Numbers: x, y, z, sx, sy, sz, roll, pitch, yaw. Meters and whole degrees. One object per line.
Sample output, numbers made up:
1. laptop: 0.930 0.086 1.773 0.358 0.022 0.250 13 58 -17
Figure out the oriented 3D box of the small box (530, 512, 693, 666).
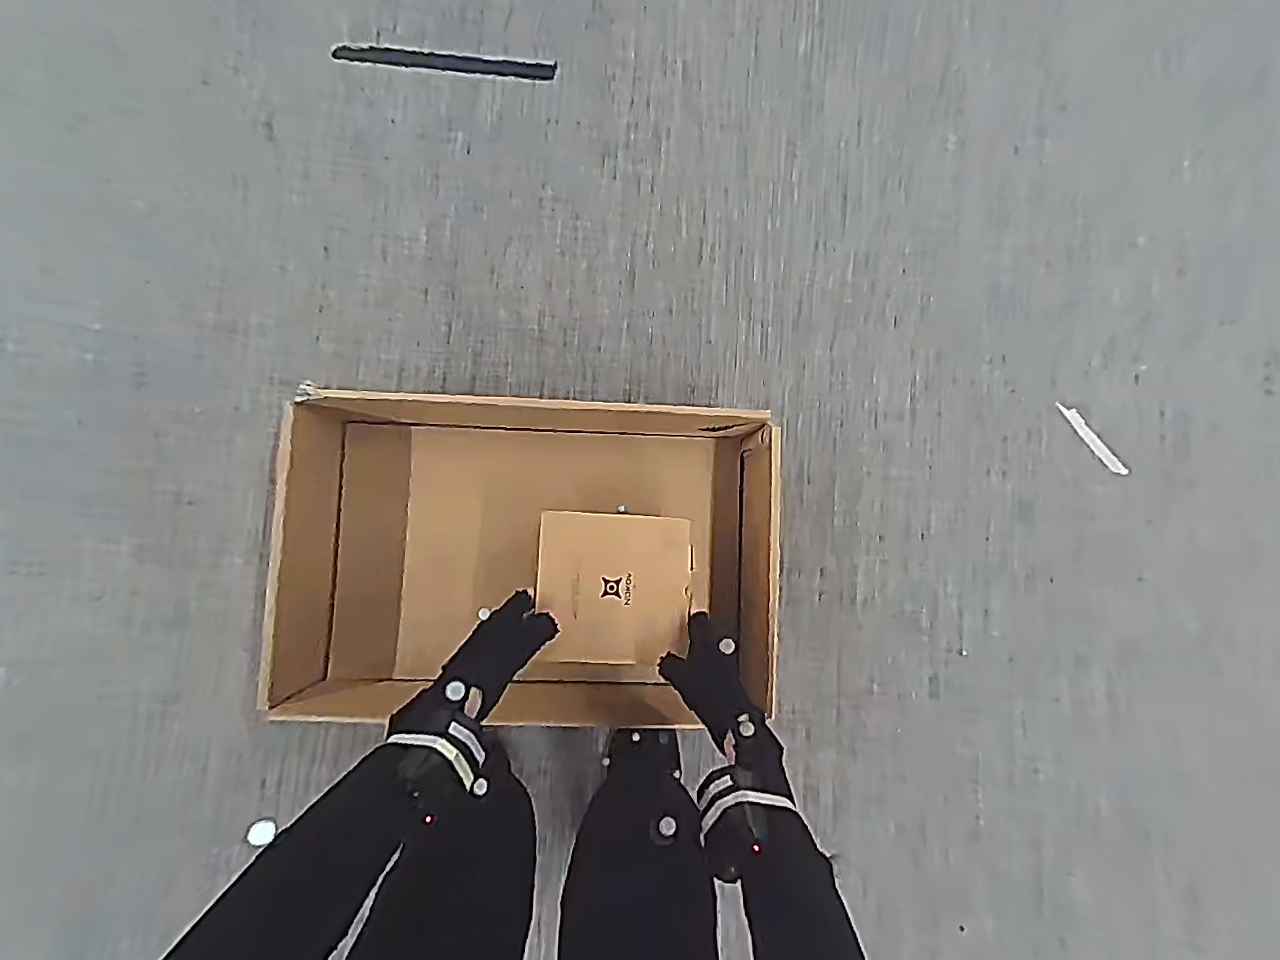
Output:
1. small box: -0.035 0.130 0.676 0.179 0.176 0.168 2 82 -4
